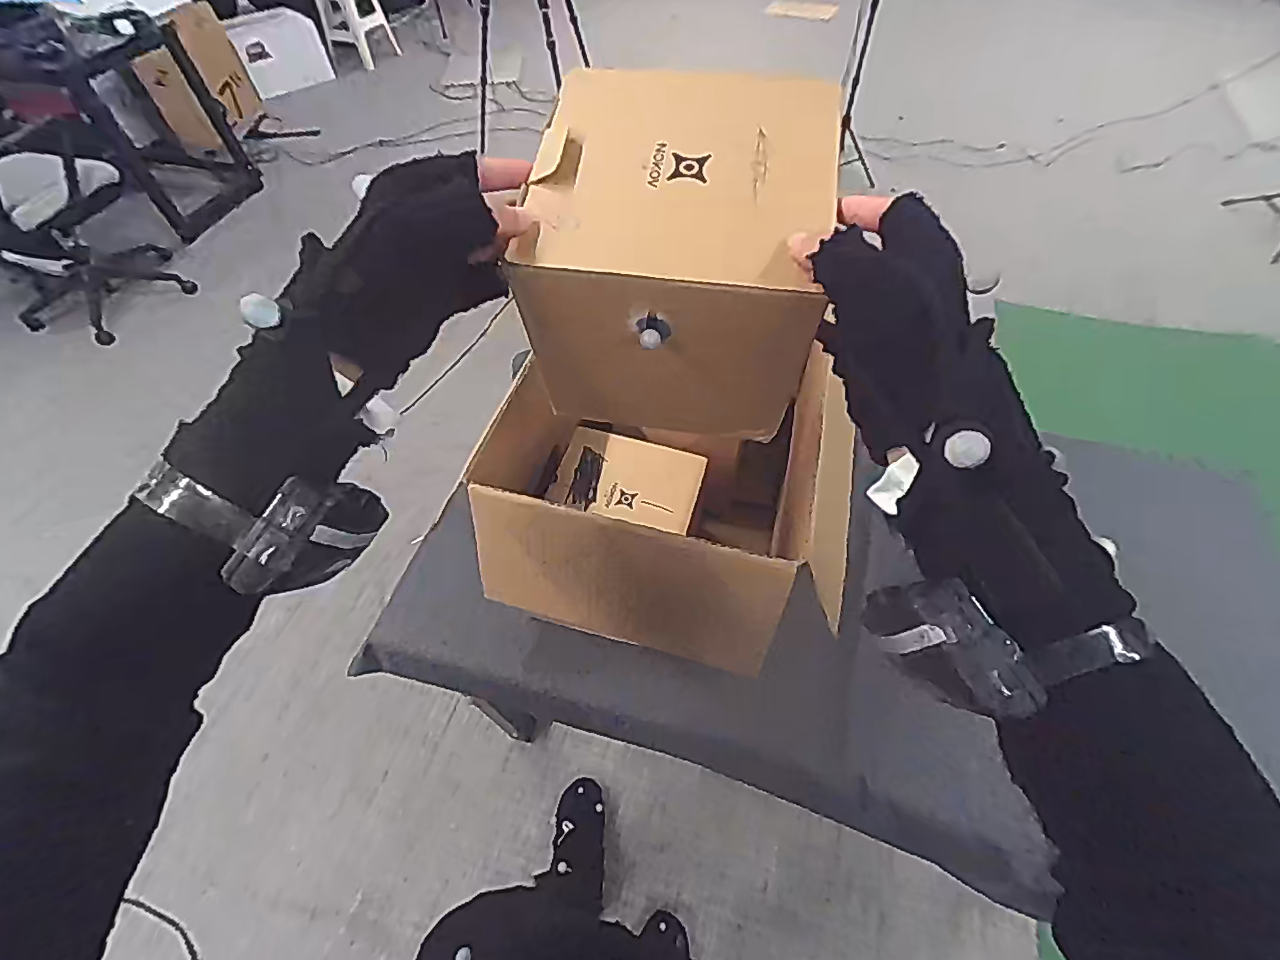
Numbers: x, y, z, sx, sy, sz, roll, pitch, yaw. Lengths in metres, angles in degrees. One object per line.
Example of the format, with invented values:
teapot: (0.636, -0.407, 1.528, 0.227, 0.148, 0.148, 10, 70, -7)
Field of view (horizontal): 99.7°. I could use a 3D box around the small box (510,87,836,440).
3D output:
small box: (0.028, -0.143, 0.394, 0.179, 0.176, 0.168, 8, 68, 5)
